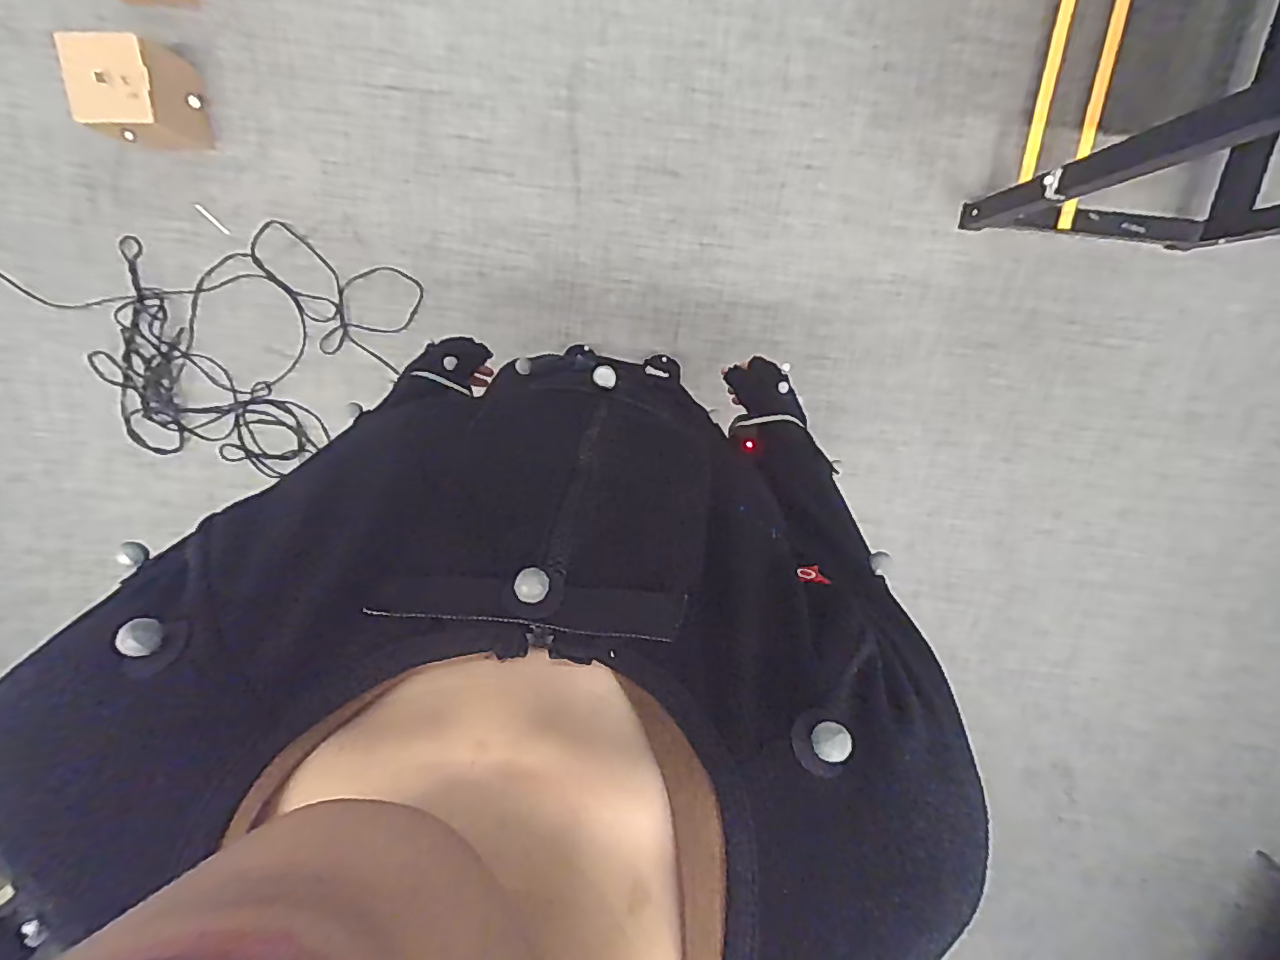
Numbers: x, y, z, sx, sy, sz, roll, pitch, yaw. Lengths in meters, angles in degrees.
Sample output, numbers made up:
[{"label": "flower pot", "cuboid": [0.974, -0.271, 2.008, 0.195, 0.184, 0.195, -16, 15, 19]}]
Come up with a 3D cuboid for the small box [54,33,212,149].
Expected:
[{"label": "small box", "cuboid": [-1.107, -0.850, 1.197, 0.179, 0.176, 0.168, 0, 105, 0]}]
